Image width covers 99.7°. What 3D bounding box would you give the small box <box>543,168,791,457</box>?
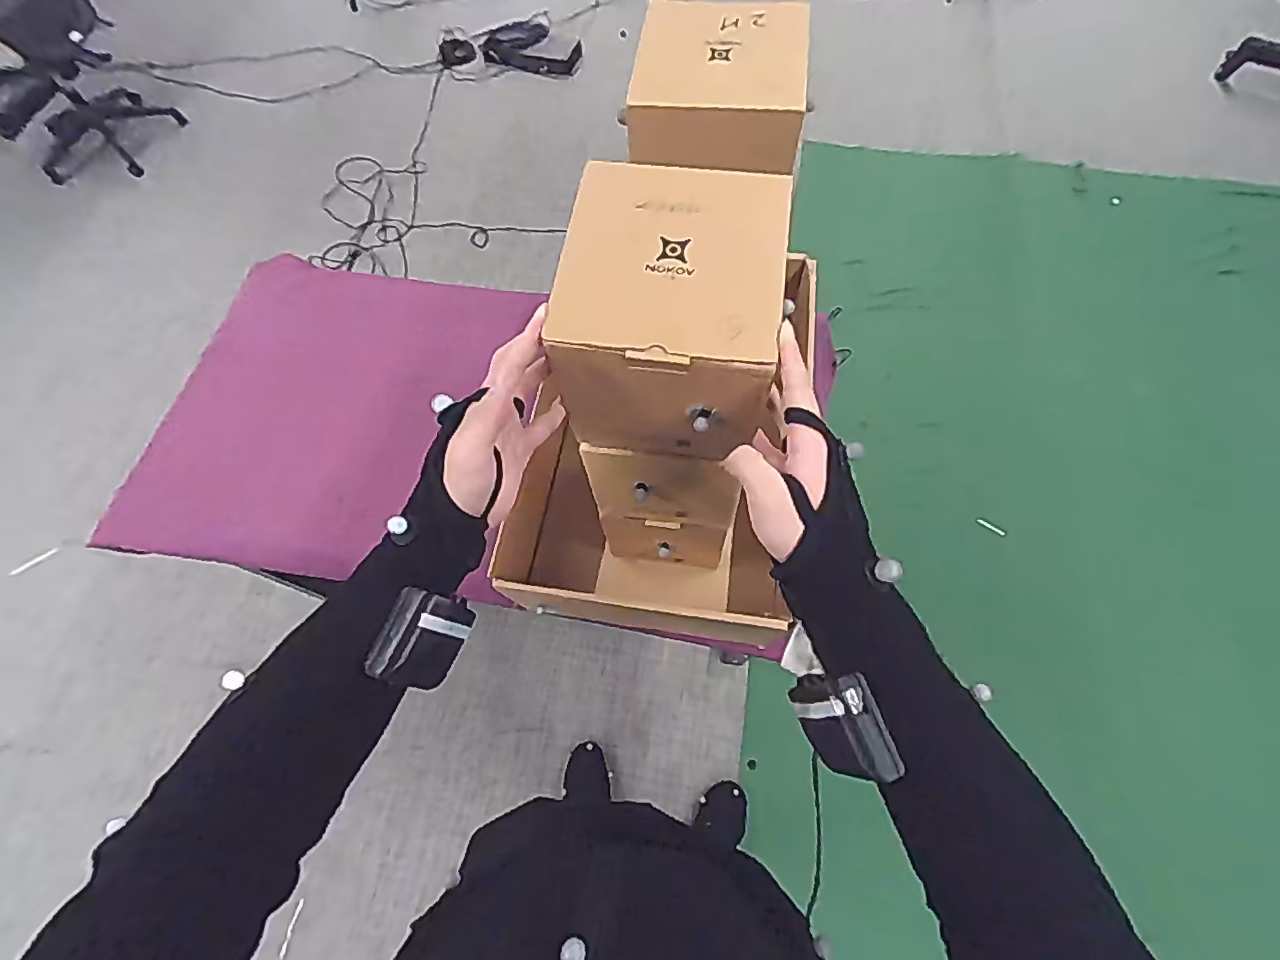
[{"bbox_3d":[0.028,-0.133,0.474,0.168,0.176,0.179,7,70,5],"label":"small box"}]

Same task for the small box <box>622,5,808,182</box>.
[{"bbox_3d":[0.081,-0.376,0.597,0.168,0.176,0.179,7,66,6],"label":"small box"}]

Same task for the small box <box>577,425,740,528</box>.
[{"bbox_3d":[0.035,-0.057,0.635,0.168,0.176,0.179,6,64,7],"label":"small box"}]
